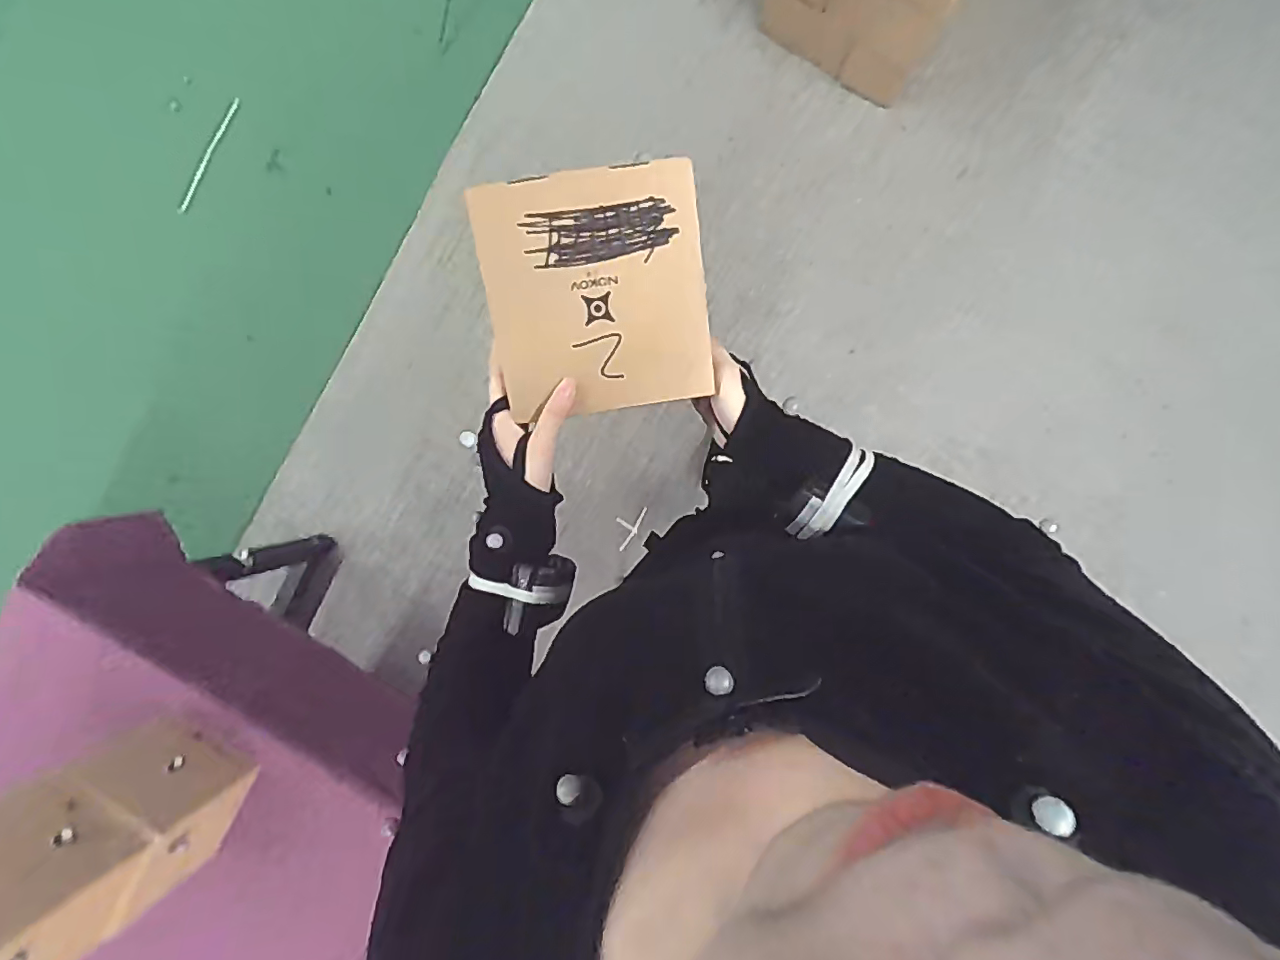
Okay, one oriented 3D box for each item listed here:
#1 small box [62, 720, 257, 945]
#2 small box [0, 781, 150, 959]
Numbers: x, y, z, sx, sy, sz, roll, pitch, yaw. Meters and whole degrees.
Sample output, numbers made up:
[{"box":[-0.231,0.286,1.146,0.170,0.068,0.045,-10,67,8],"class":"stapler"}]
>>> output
[{"box":[-0.705,0.487,0.780,0.168,0.176,0.179,30,95,4],"class":"small box"},{"box":[-0.729,0.499,0.618,0.168,0.176,0.179,30,94,3],"class":"small box"}]
